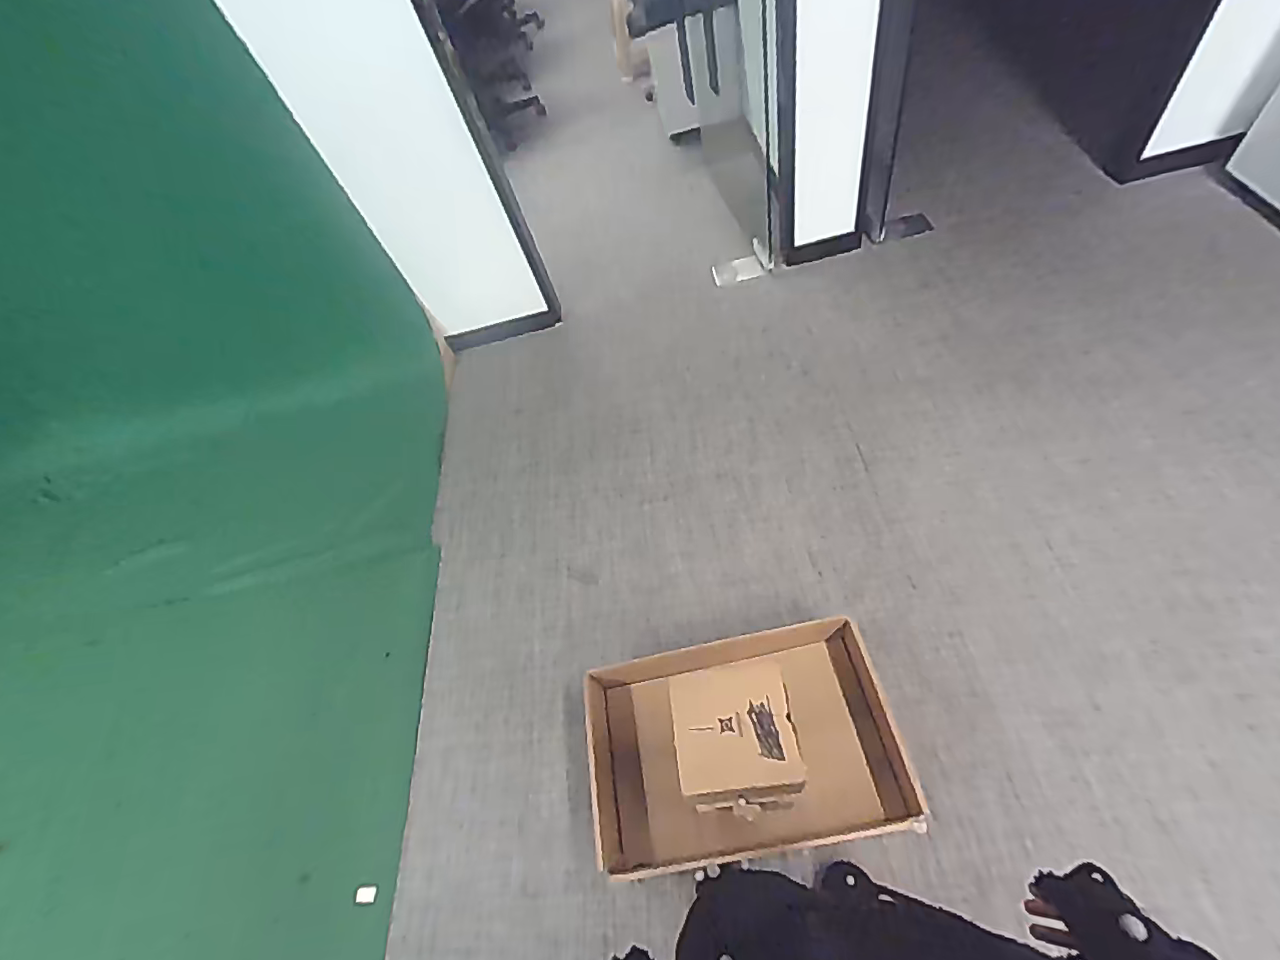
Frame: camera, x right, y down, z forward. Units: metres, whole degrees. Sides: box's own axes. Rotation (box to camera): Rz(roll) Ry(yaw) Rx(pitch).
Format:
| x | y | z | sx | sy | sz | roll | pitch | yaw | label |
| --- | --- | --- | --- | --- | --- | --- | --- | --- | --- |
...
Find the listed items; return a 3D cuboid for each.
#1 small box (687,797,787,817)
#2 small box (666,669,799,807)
| x | y | z | sx | sy | sz | roll | pitch | yaw | label |
| --- | --- | --- | --- | --- | --- | --- | --- | --- | --- |
| 0.168 | 0.506 | 0.985 | 0.168 | 0.176 | 0.179 | -10 | 55 | 6 | small box |
| 0.146 | 0.418 | 0.867 | 0.179 | 0.176 | 0.168 | -10 | 53 | 7 | small box |
